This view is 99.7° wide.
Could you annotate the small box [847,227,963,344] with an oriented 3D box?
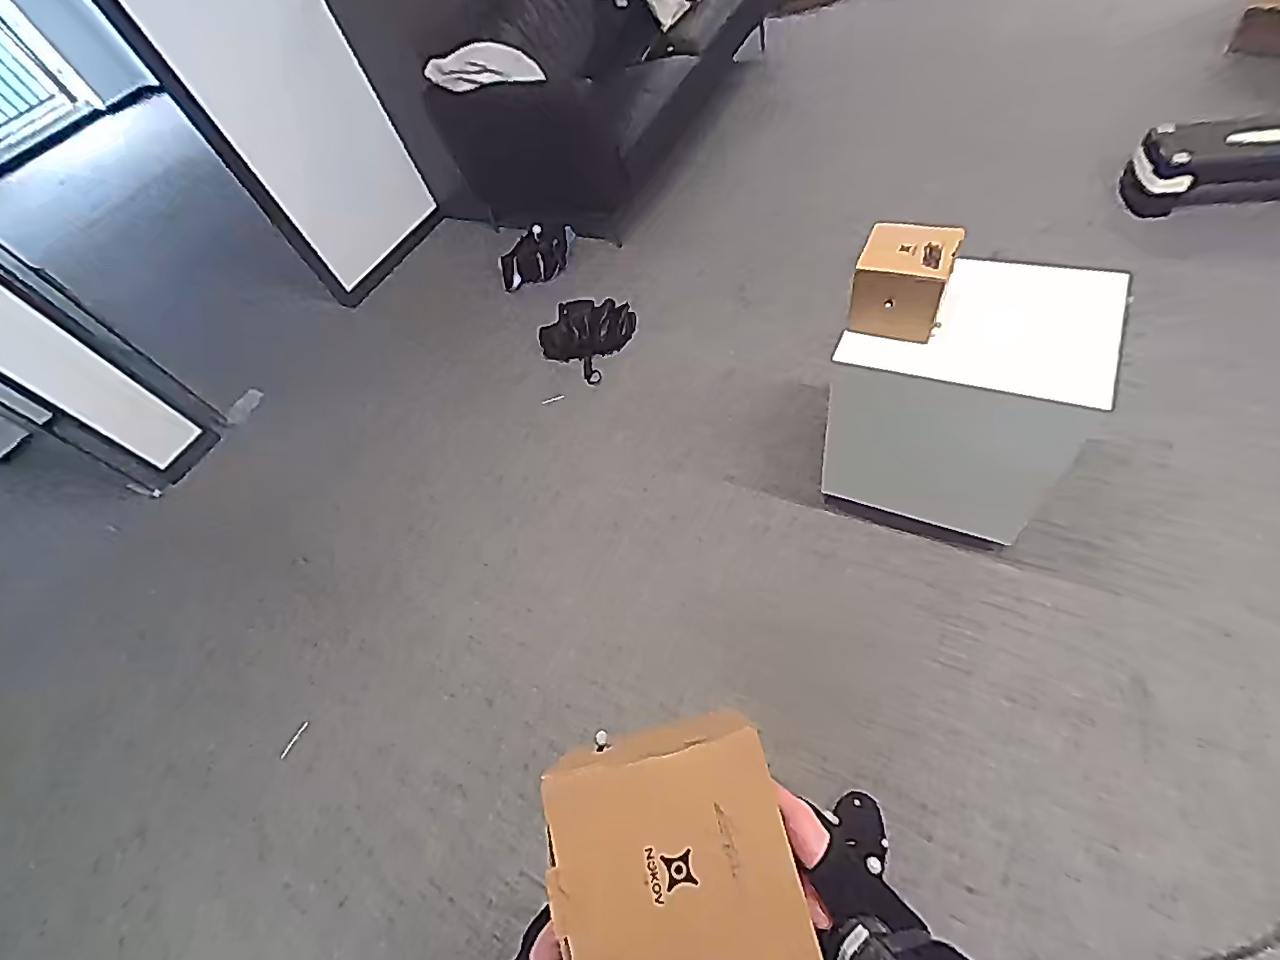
[{"bbox_3d":[0.566,-0.418,1.173,0.179,0.176,0.168,18,62,25],"label":"small box"}]
